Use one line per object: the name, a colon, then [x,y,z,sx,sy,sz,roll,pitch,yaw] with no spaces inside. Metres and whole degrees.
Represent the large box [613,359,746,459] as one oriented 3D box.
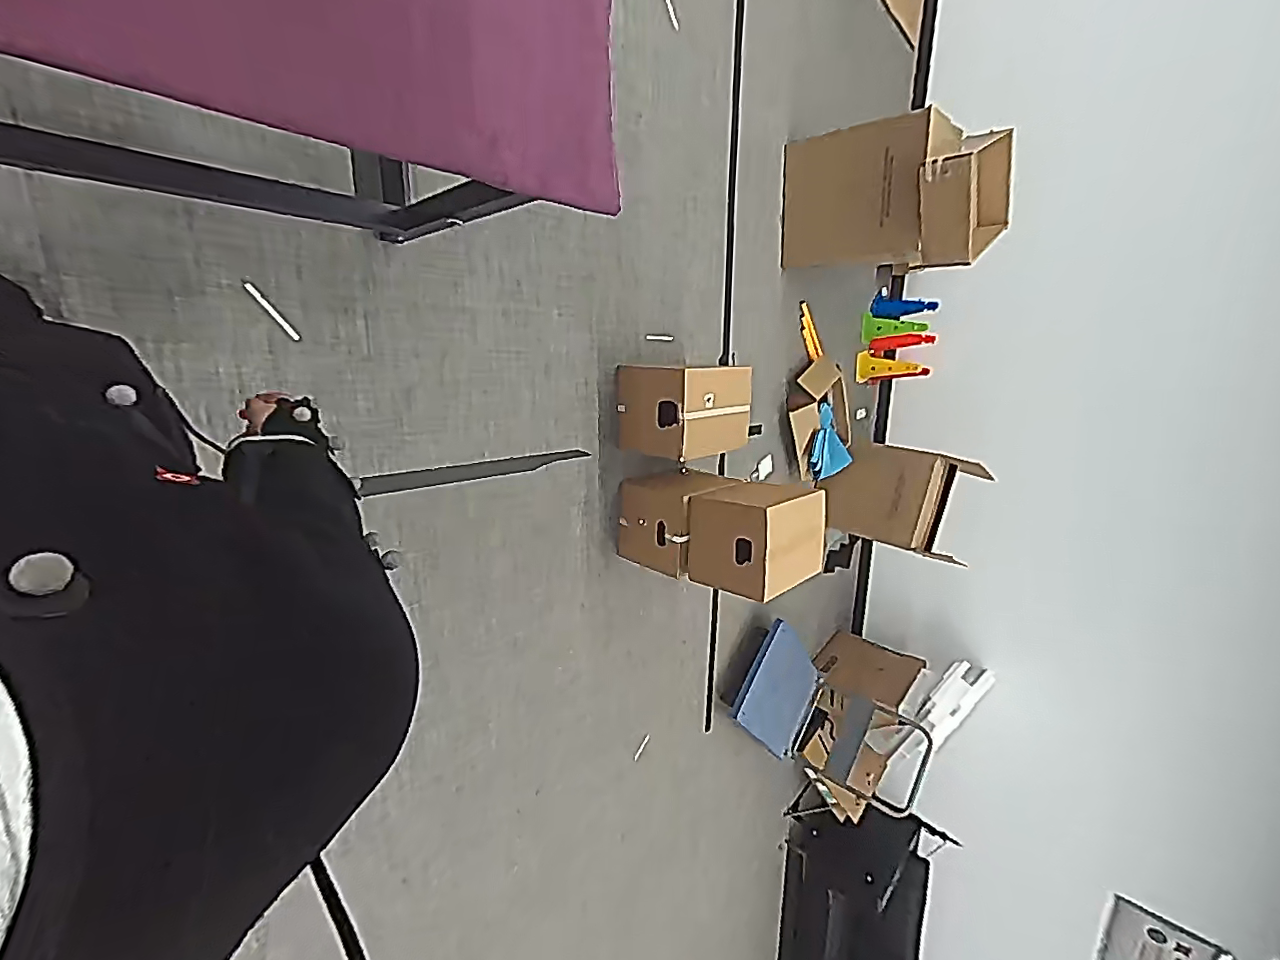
large box: [0.147,-0.280,1.999,0.408,0.320,0.320,-14,110,-44]
